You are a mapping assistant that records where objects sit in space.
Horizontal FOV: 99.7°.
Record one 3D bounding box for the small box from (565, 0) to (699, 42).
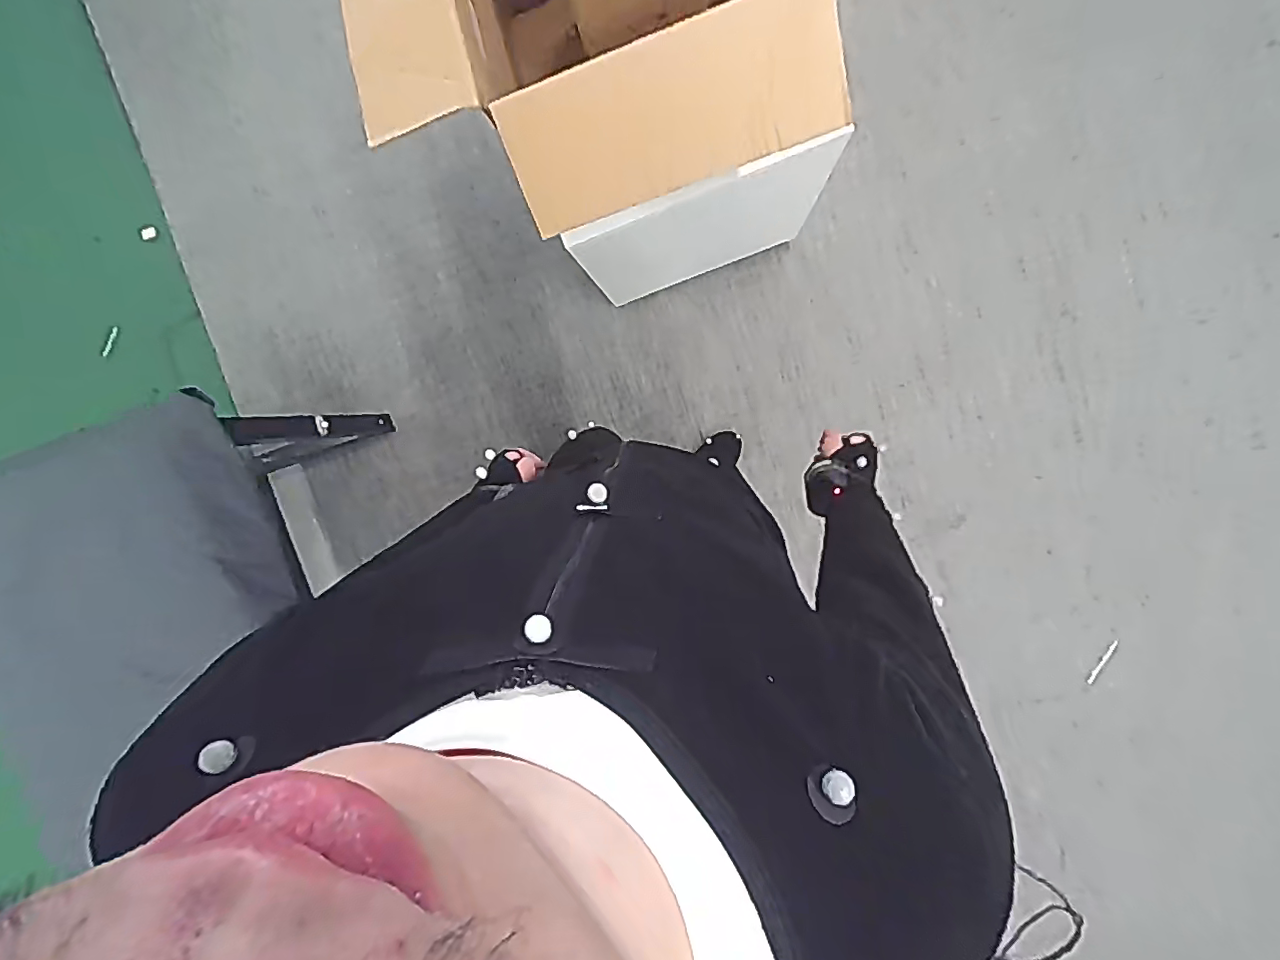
[{"bbox_3d":[-0.028,-0.648,0.608,0.168,0.176,0.179,-19,93,6],"label":"small box"}]
